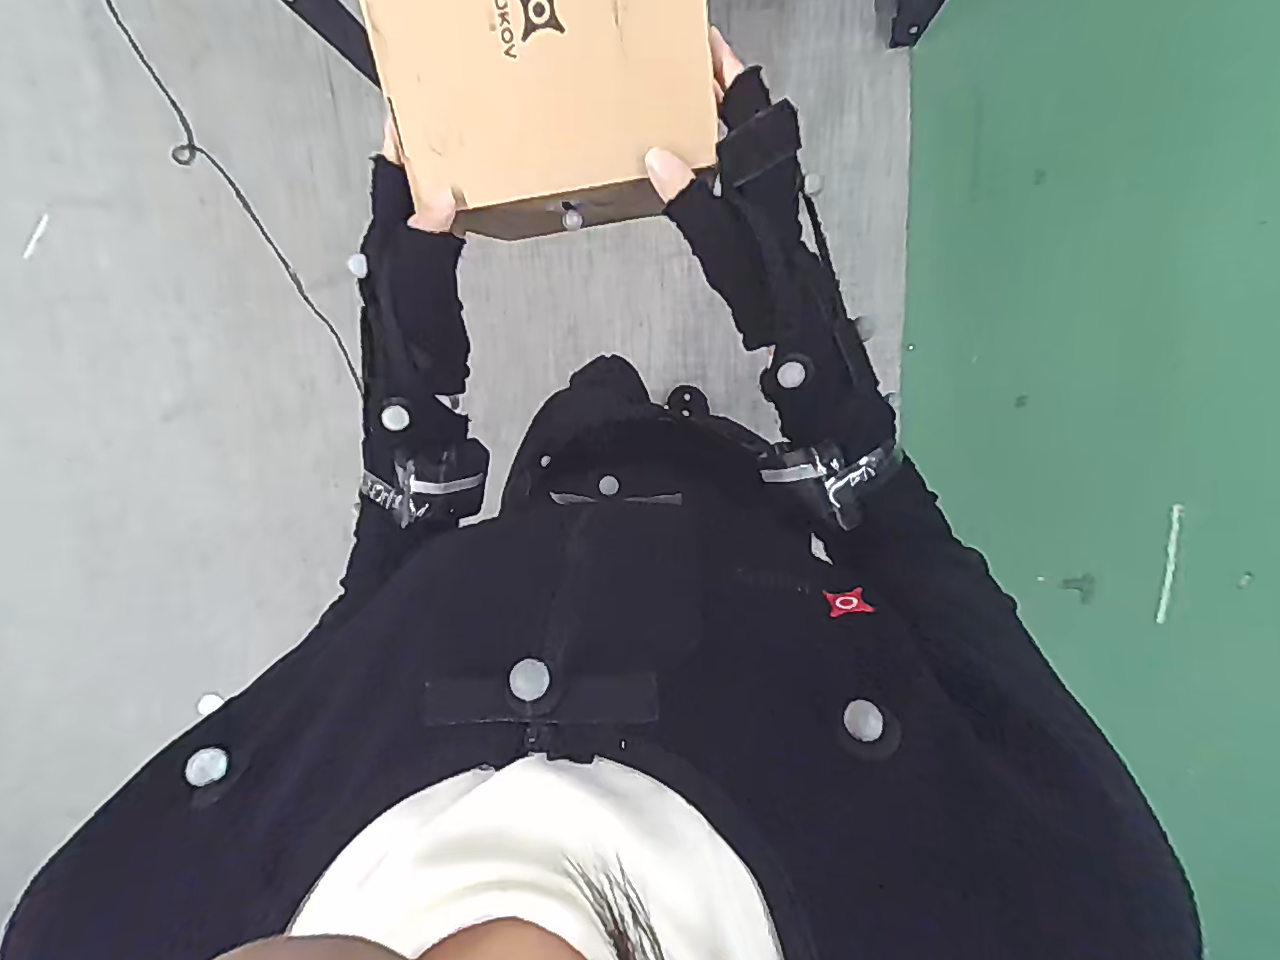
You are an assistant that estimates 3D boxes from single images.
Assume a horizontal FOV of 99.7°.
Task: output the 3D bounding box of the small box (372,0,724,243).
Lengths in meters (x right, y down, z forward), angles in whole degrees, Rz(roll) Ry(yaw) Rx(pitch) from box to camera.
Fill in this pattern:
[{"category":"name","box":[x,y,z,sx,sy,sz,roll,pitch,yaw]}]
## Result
[{"category":"small box","box":[-0.044,-0.261,0.356,0.179,0.176,0.168,-8,109,7]}]
